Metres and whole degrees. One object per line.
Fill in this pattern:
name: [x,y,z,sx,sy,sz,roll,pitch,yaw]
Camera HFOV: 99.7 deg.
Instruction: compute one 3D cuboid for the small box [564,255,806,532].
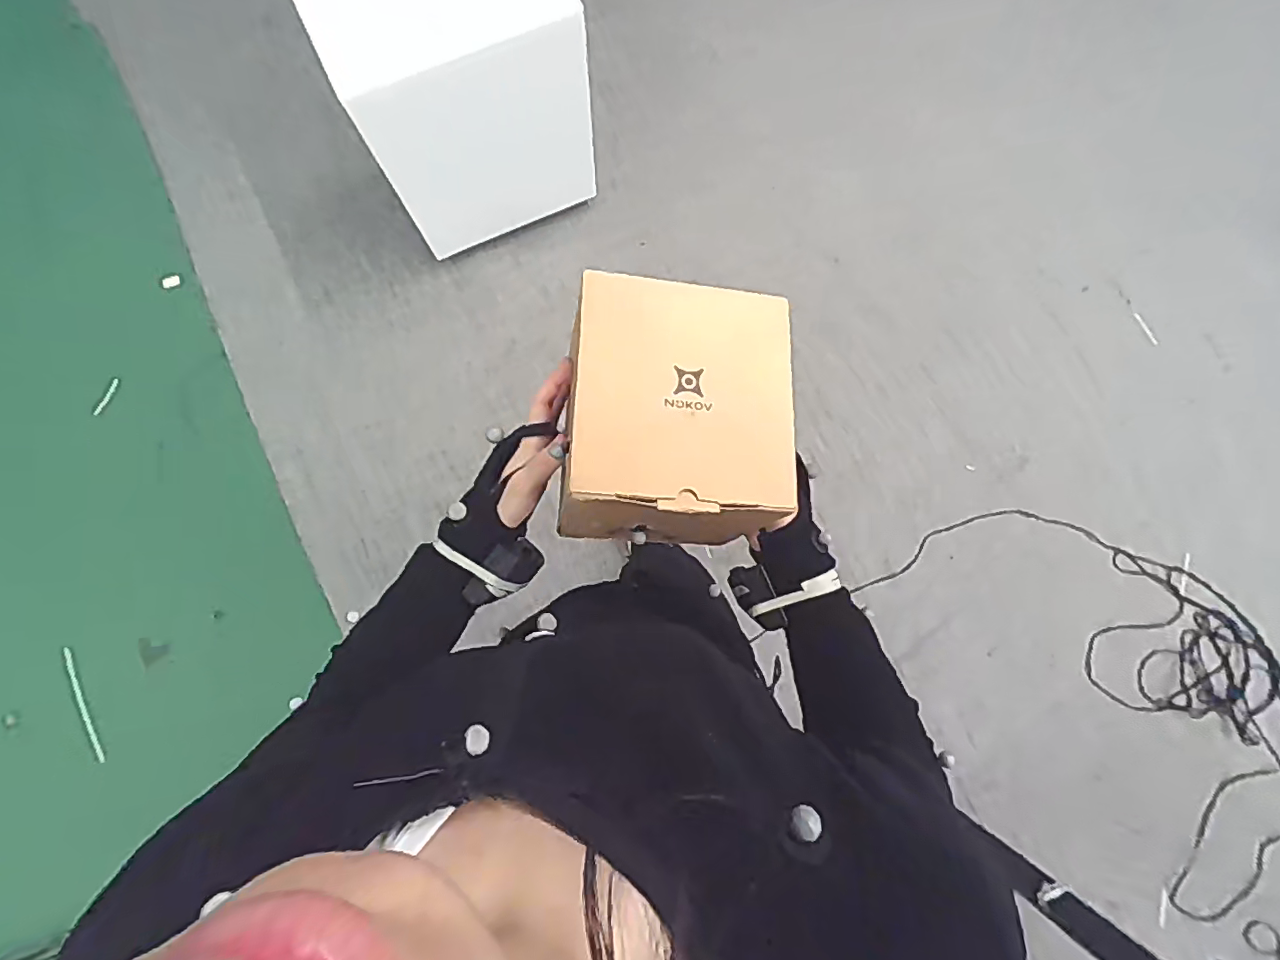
small box: [0.023,-0.058,0.466,0.168,0.176,0.179,3,76,-10]
